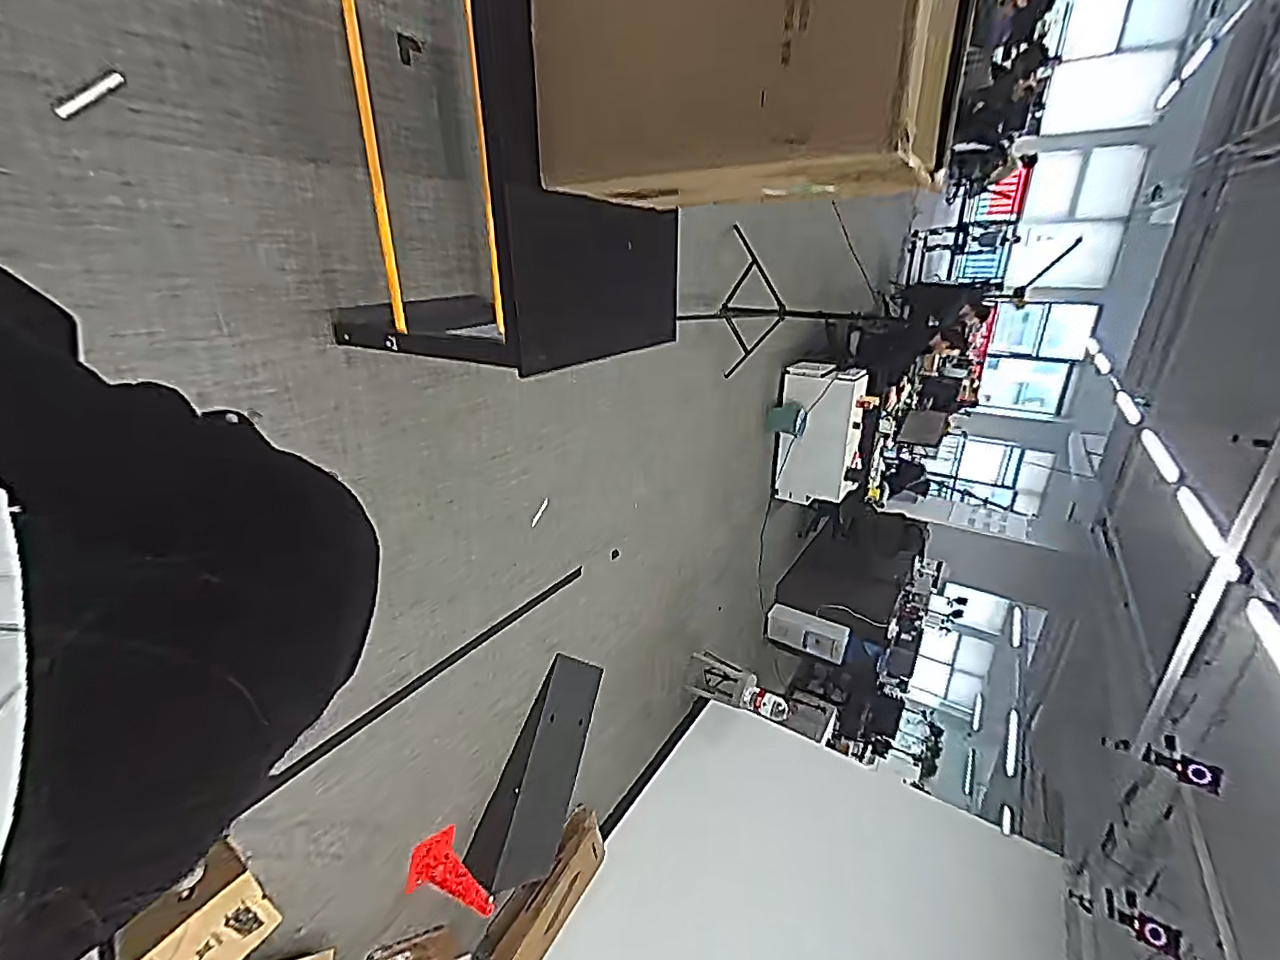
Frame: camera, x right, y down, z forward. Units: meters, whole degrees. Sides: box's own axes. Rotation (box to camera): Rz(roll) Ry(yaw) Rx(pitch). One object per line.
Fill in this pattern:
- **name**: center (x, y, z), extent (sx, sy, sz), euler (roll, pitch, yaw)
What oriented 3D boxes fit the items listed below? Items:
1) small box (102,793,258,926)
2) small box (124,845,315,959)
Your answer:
- **small box**: center (-0.822, 0.723, 0.988), extent (0.168, 0.176, 0.179), euler (-34, 130, -49)
- **small box**: center (-0.690, 0.762, 0.897), extent (0.179, 0.176, 0.168), euler (-36, 132, -46)
